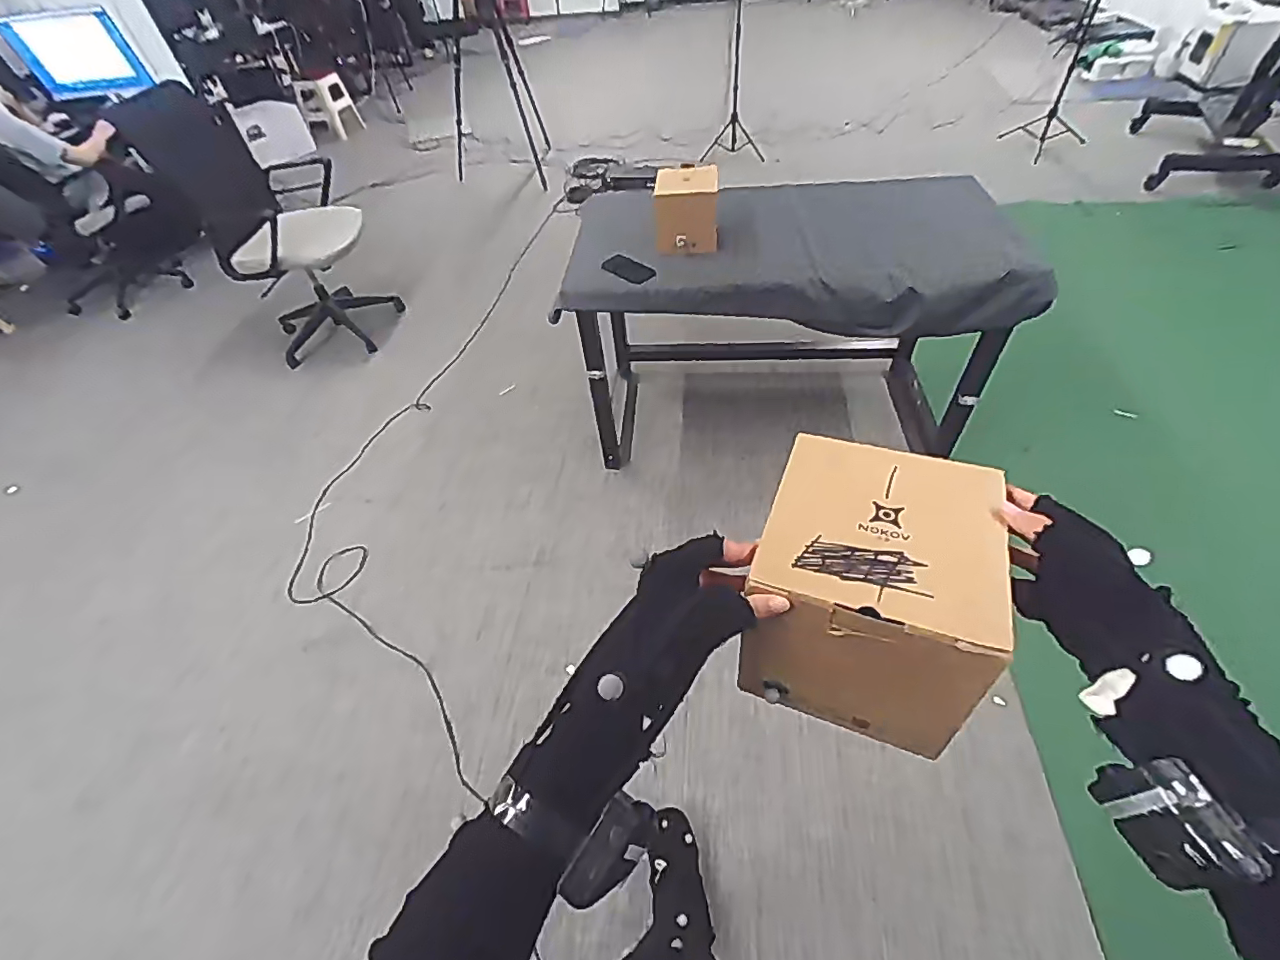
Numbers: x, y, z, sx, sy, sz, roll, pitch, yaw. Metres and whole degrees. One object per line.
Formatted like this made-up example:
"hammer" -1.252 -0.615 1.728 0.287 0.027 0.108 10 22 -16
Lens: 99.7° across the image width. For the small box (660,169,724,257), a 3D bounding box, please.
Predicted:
"small box" 0.147 -0.739 1.501 0.168 0.176 0.179 0 50 8
